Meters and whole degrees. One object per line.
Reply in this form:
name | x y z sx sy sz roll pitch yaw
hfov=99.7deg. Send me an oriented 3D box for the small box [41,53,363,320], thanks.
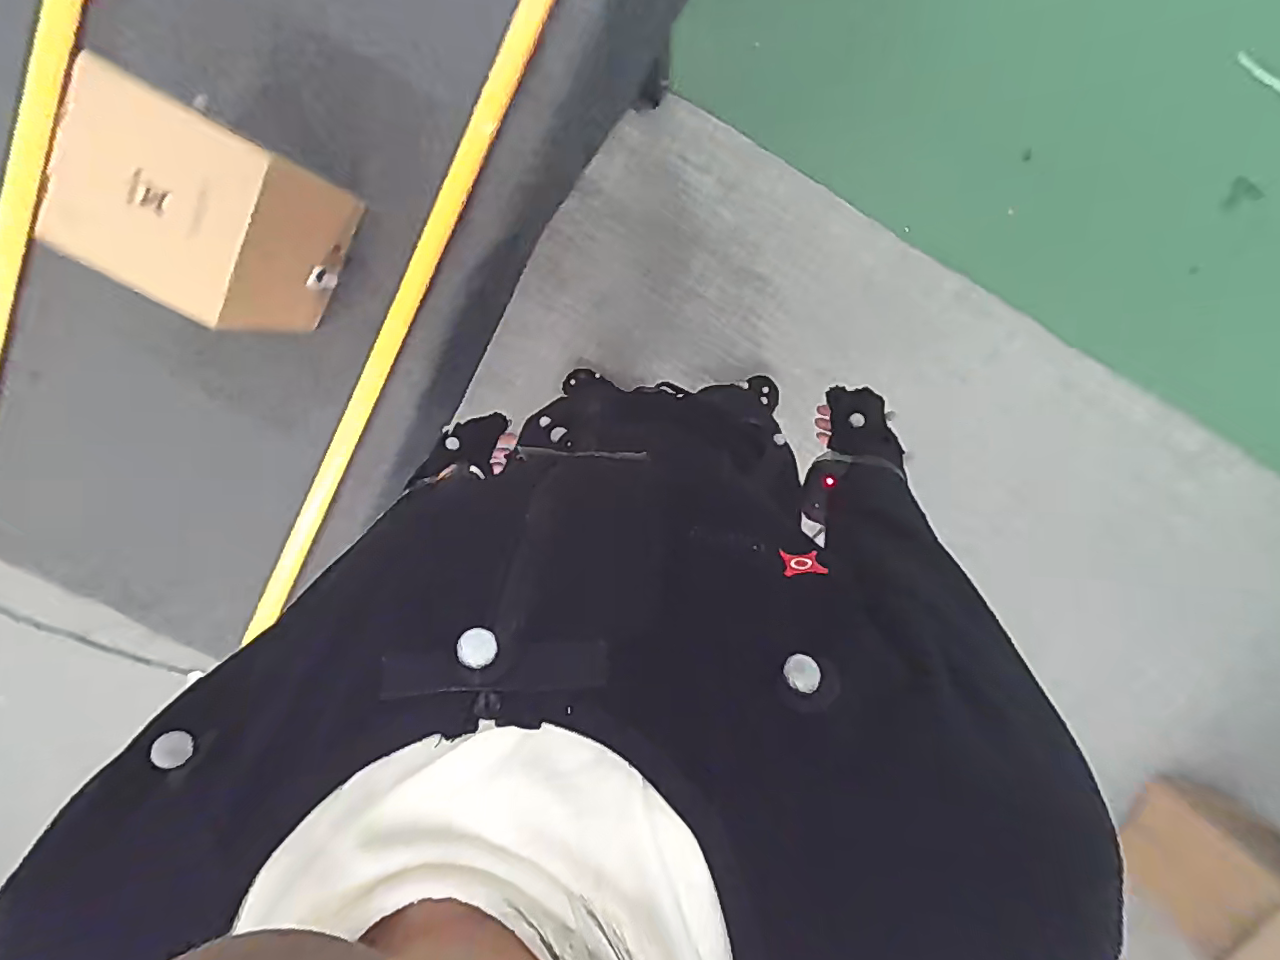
small box | -0.433 -0.276 0.563 0.179 0.176 0.168 27 104 -6
